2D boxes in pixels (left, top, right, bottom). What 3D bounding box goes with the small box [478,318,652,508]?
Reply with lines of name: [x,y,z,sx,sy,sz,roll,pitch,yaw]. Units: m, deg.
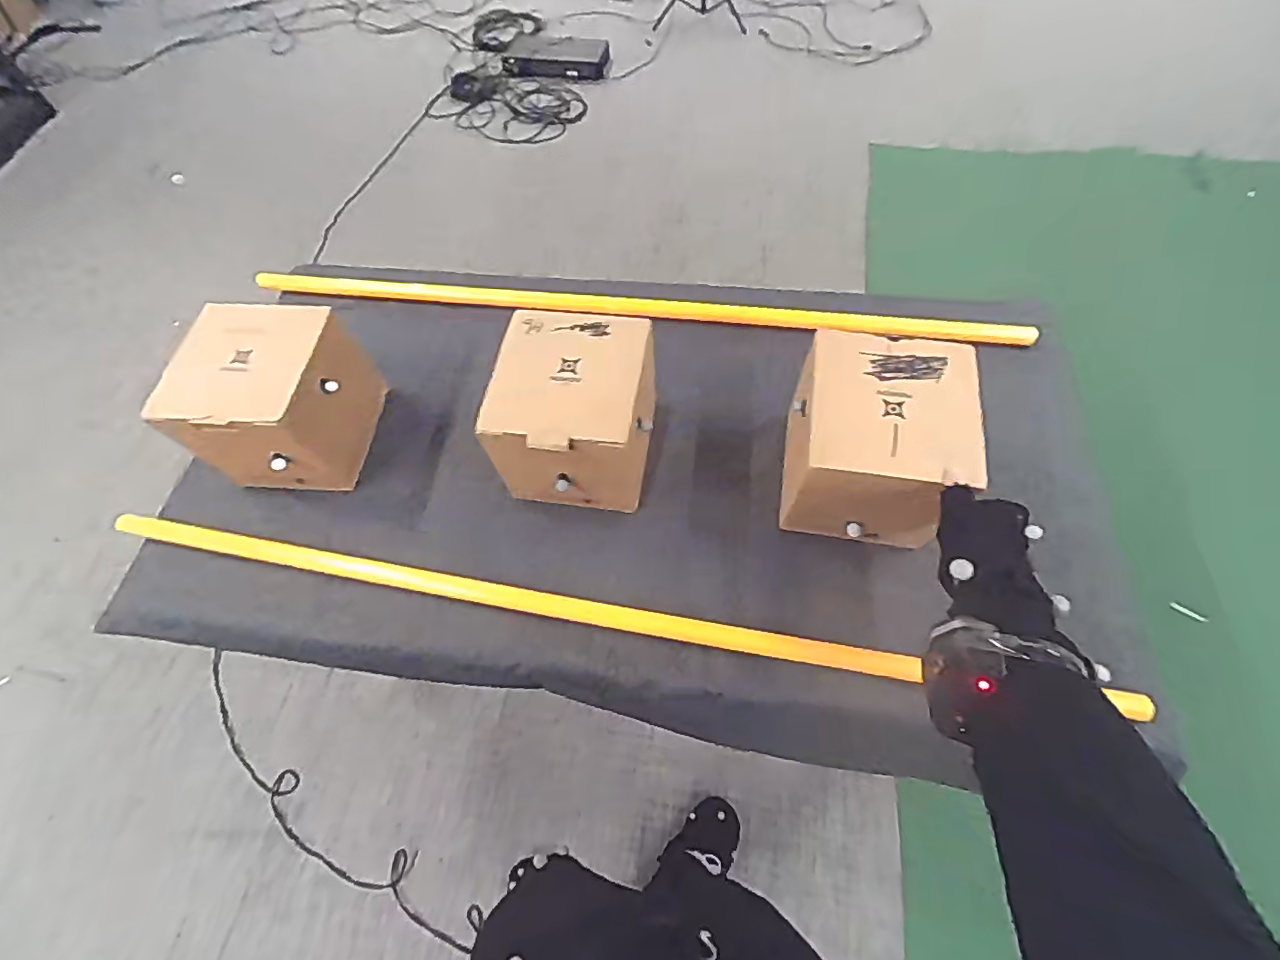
small box: [-0.077,-0.077,0.674,0.168,0.176,0.179,3,62,7]

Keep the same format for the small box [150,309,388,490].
small box: [-0.460,-0.099,0.709,0.168,0.176,0.179,3,61,3]

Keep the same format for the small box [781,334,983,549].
small box: [0.264,-0.039,0.626,0.168,0.176,0.179,8,64,8]
